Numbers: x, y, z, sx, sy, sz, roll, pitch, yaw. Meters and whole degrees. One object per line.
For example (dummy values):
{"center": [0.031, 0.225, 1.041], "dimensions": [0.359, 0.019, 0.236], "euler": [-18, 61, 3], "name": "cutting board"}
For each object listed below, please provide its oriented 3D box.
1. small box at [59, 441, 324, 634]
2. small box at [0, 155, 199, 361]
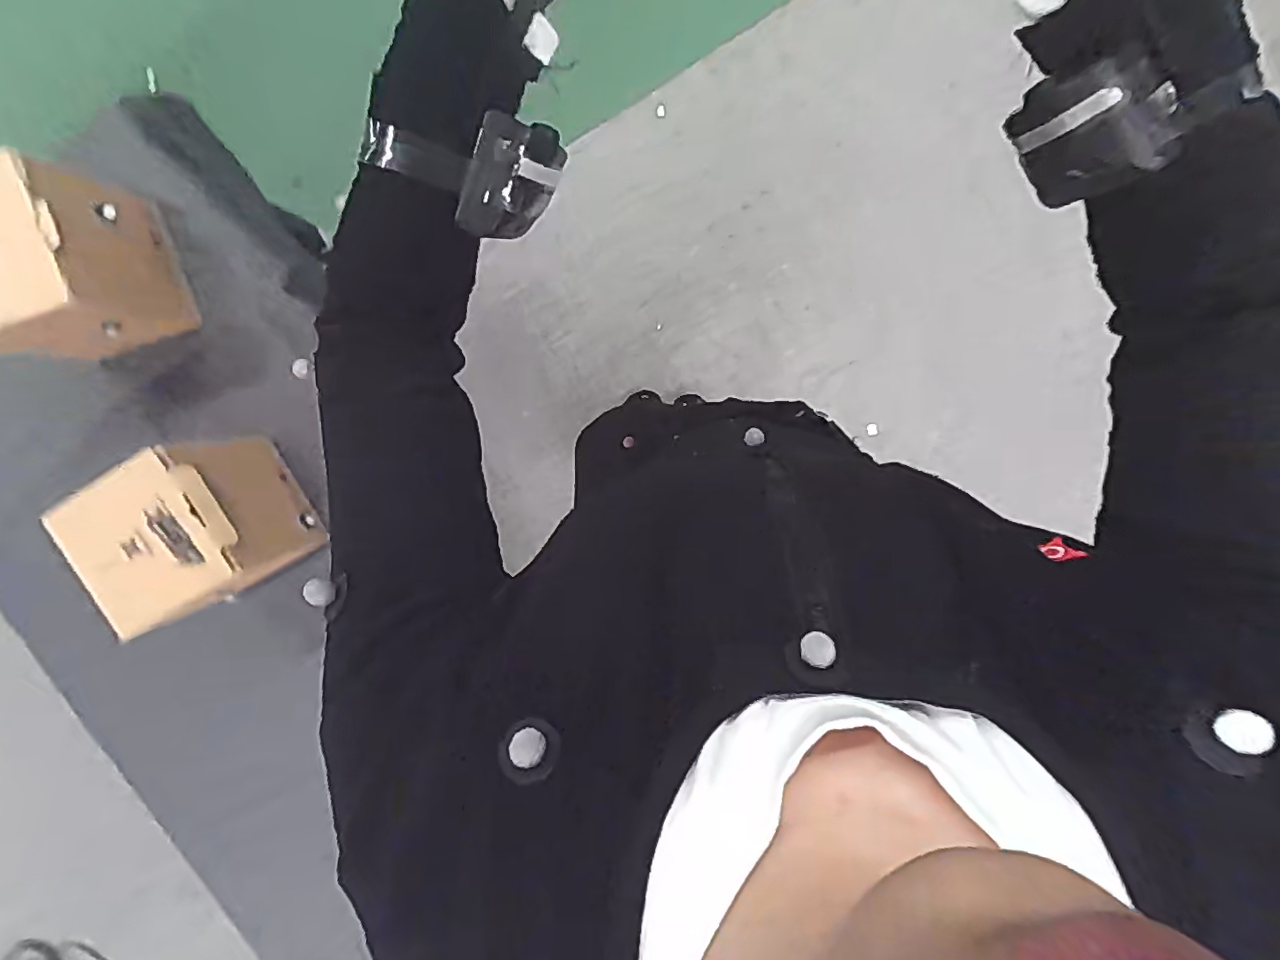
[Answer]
{"center": [-0.549, 0.061, 0.697], "dimensions": [0.179, 0.176, 0.168], "euler": [-29, 95, 8], "name": "small box"}
{"center": [-0.696, -0.253, 0.662], "dimensions": [0.179, 0.176, 0.168], "euler": [-17, 96, 7], "name": "small box"}
